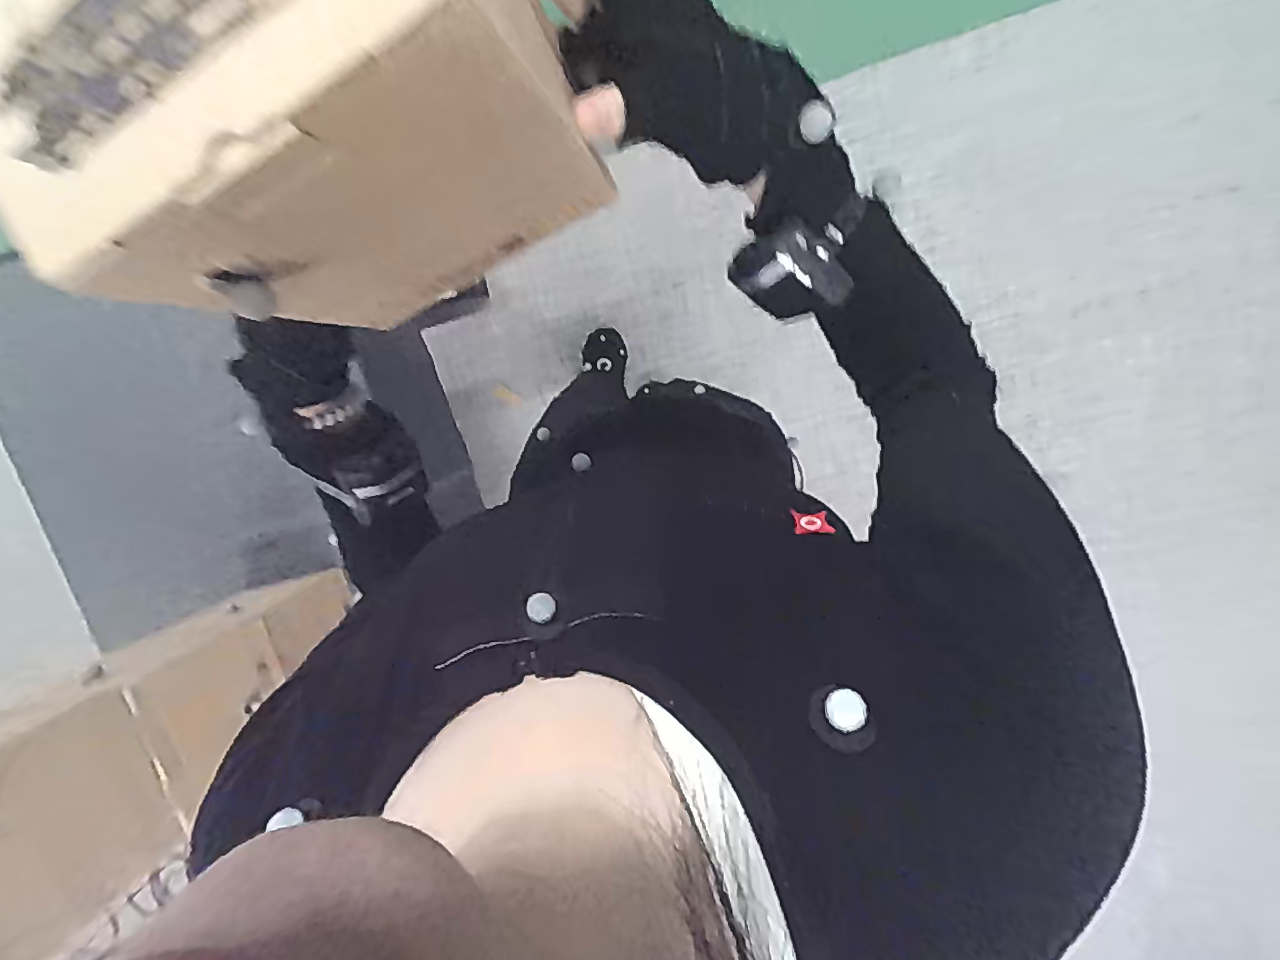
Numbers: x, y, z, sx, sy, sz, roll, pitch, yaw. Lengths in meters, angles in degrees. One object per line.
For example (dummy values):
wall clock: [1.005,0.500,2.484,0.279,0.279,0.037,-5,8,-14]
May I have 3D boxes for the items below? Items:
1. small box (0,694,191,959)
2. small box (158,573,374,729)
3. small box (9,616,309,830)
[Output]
small box: [-0.549,0.304,0.460,0.168,0.176,0.179,-13,99,8]
small box: [-0.519,0.249,0.781,0.179,0.176,0.168,-15,99,9]
small box: [-0.534,0.278,0.622,0.179,0.176,0.168,-15,98,8]
